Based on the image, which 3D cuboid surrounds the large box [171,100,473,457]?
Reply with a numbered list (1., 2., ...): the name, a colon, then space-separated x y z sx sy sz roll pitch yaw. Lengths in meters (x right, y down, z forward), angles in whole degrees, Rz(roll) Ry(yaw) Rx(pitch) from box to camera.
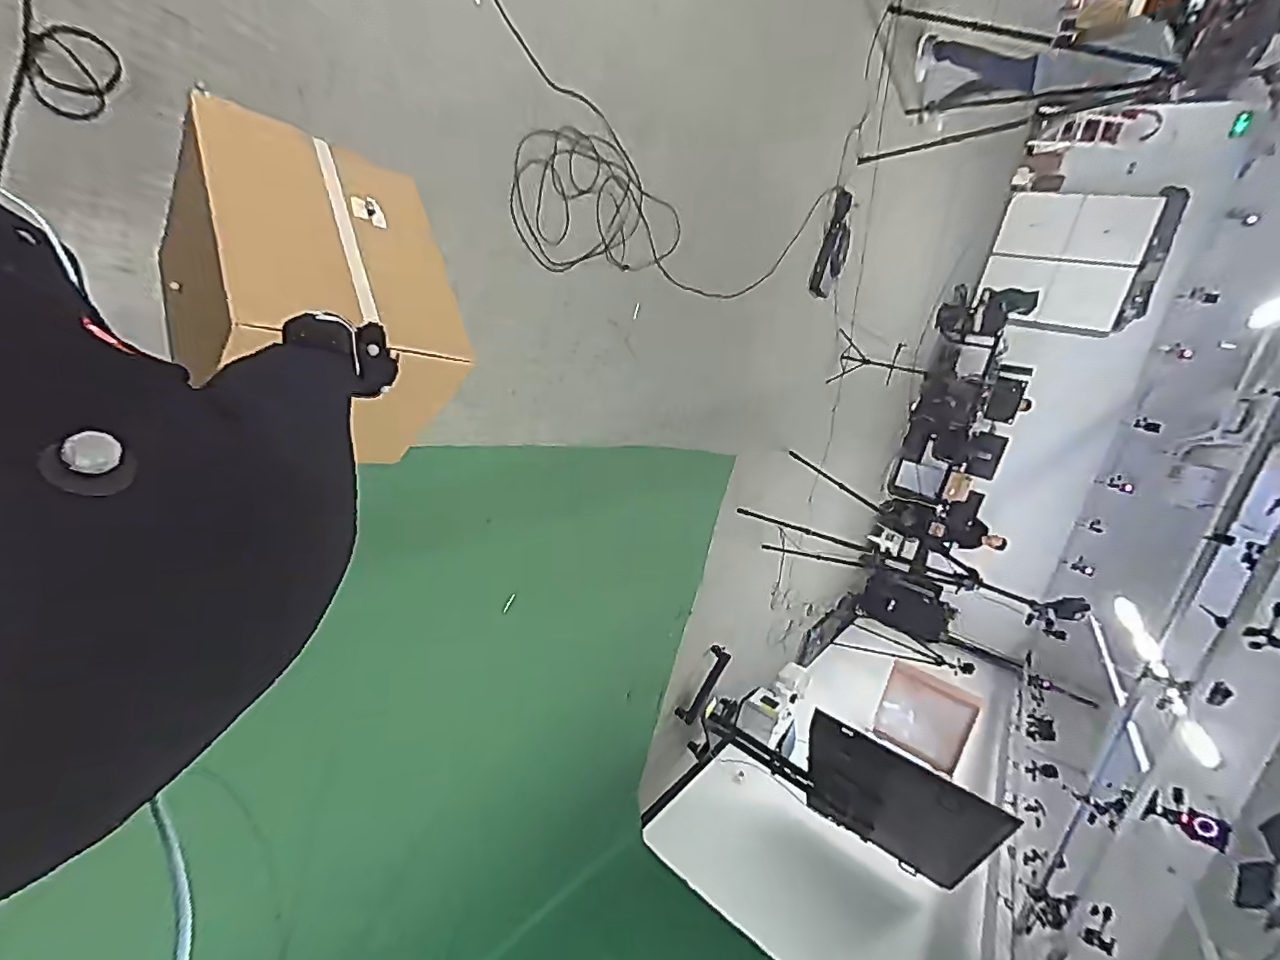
1. large box: -0.531 -0.282 0.884 0.320 0.408 0.320 -2 153 -49
